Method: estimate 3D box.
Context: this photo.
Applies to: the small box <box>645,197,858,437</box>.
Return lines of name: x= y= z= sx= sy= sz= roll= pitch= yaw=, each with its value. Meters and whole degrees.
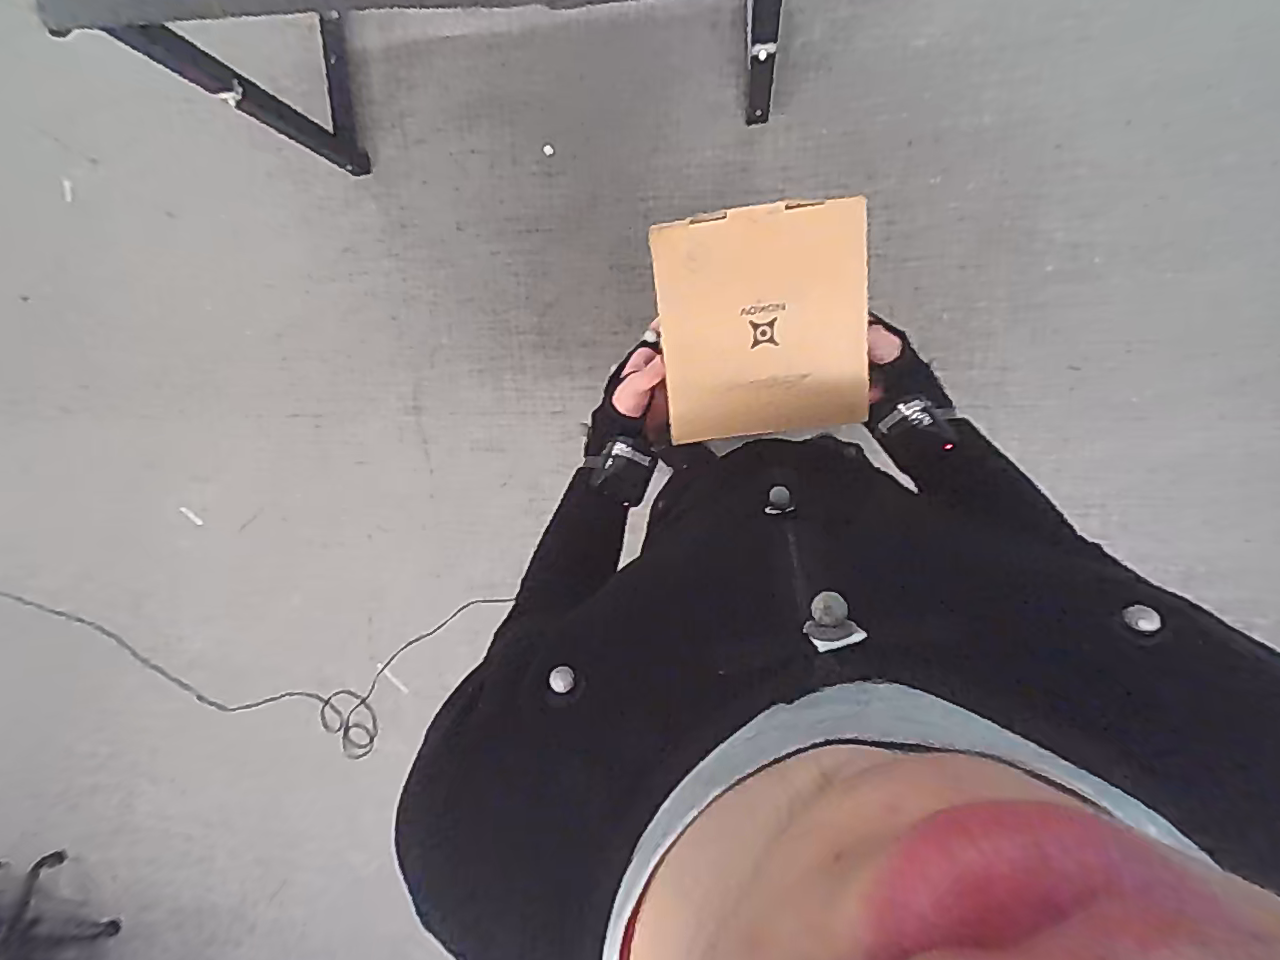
small box: x=0.094 y=-0.149 z=0.511 sx=0.168 sy=0.176 sz=0.179 roll=-5 pitch=109 yaw=5
